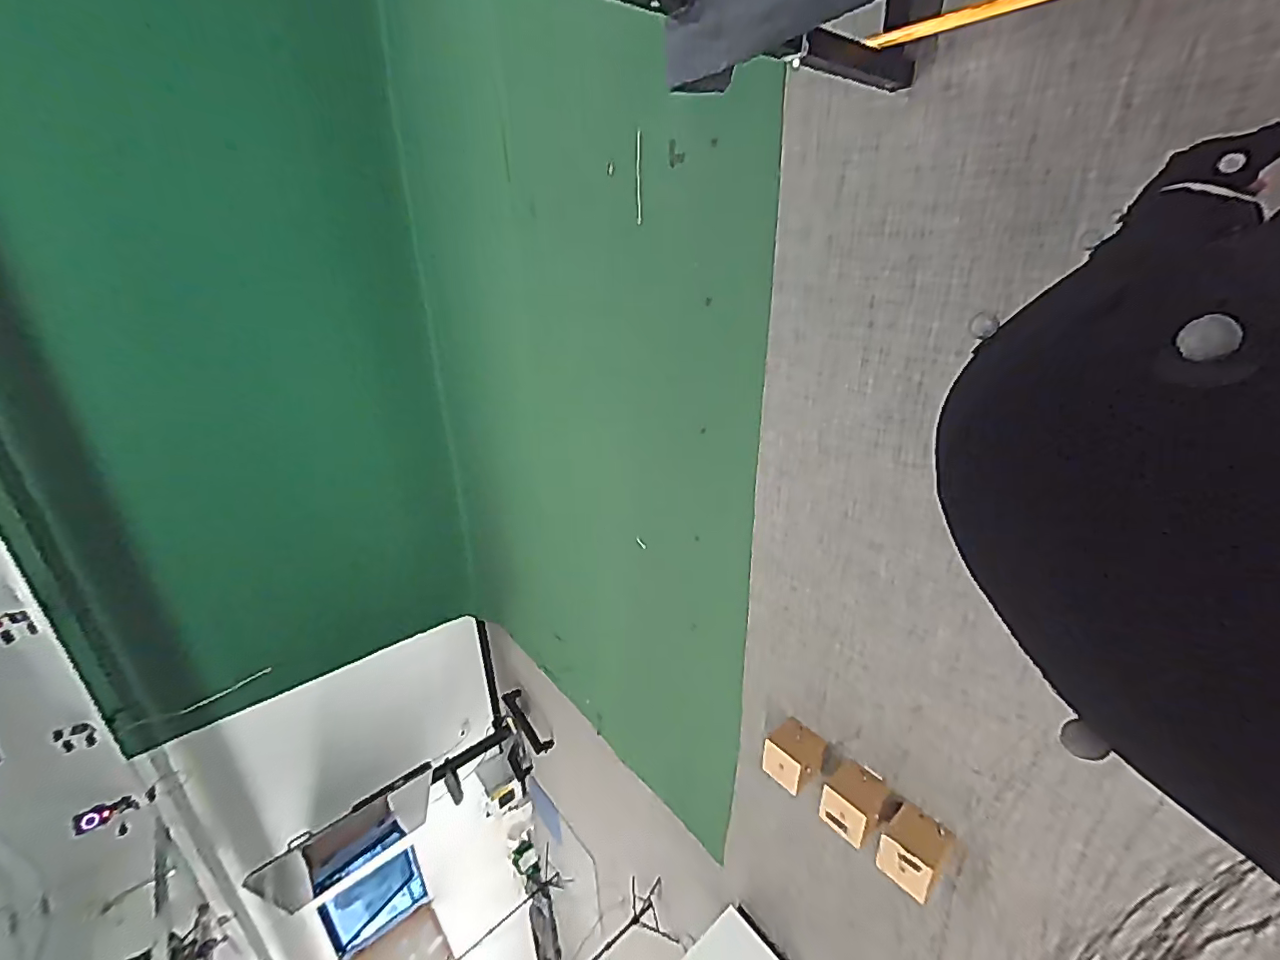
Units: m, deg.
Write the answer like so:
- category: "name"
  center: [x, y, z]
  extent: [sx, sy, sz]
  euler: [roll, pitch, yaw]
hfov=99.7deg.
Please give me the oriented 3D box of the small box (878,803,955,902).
- category: "small box"
  center: [0.921, 1.229, 1.797]
  extent: [0.168, 0.176, 0.179]
  euler: [24, 125, 45]

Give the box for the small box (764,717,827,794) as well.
- category: "small box"
  center: [0.618, 1.084, 2.141]
  extent: [0.168, 0.176, 0.179]
  euler: [27, 125, 46]
